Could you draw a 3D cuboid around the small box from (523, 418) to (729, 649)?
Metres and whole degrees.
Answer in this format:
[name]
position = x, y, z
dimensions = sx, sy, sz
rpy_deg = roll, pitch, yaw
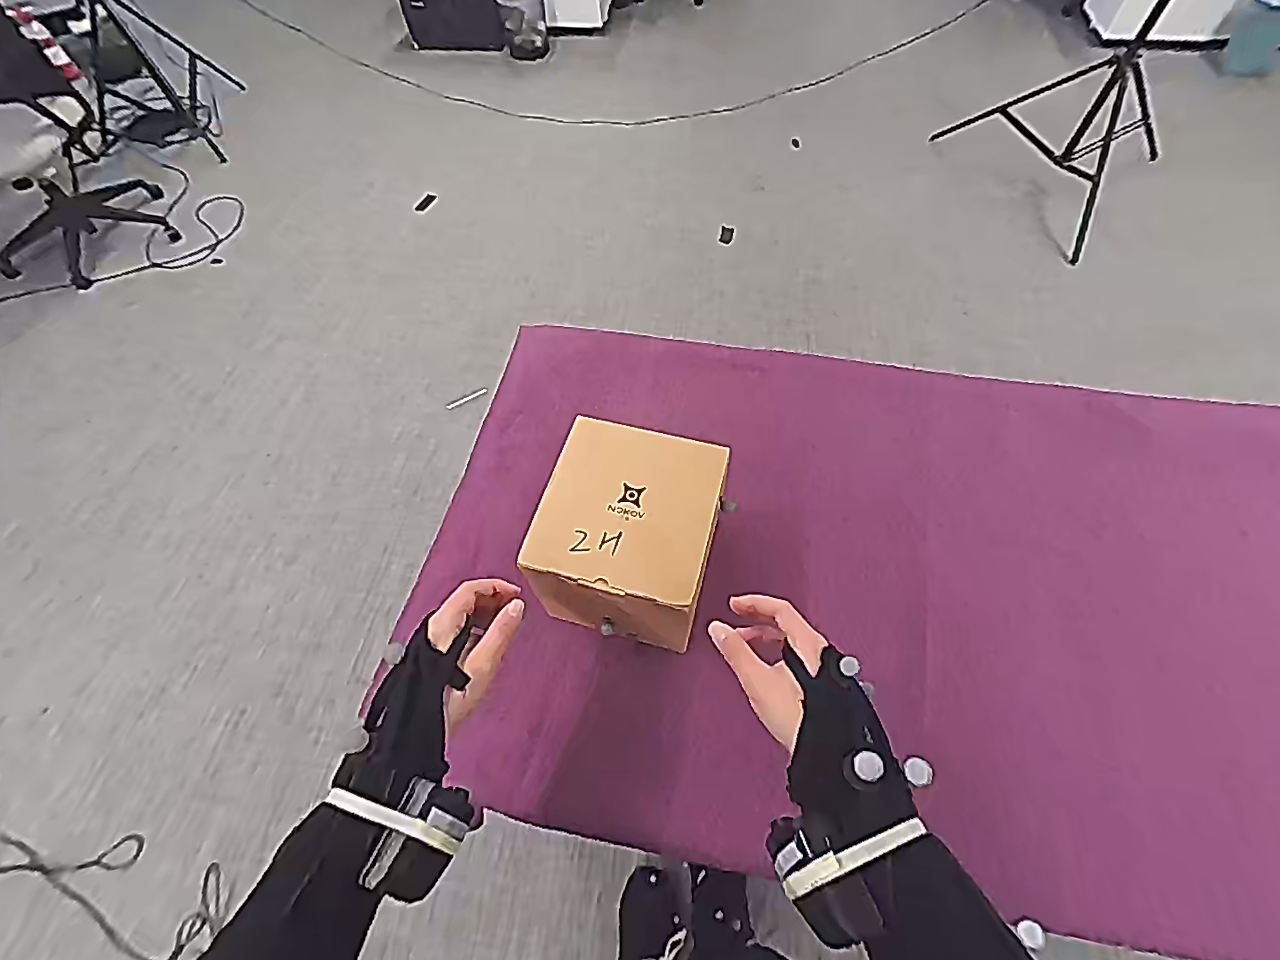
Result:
[small box]
position = -0.007, 0.063, 0.595
dimensions = 0.168, 0.176, 0.179
rpy_deg = 13, 61, 10
